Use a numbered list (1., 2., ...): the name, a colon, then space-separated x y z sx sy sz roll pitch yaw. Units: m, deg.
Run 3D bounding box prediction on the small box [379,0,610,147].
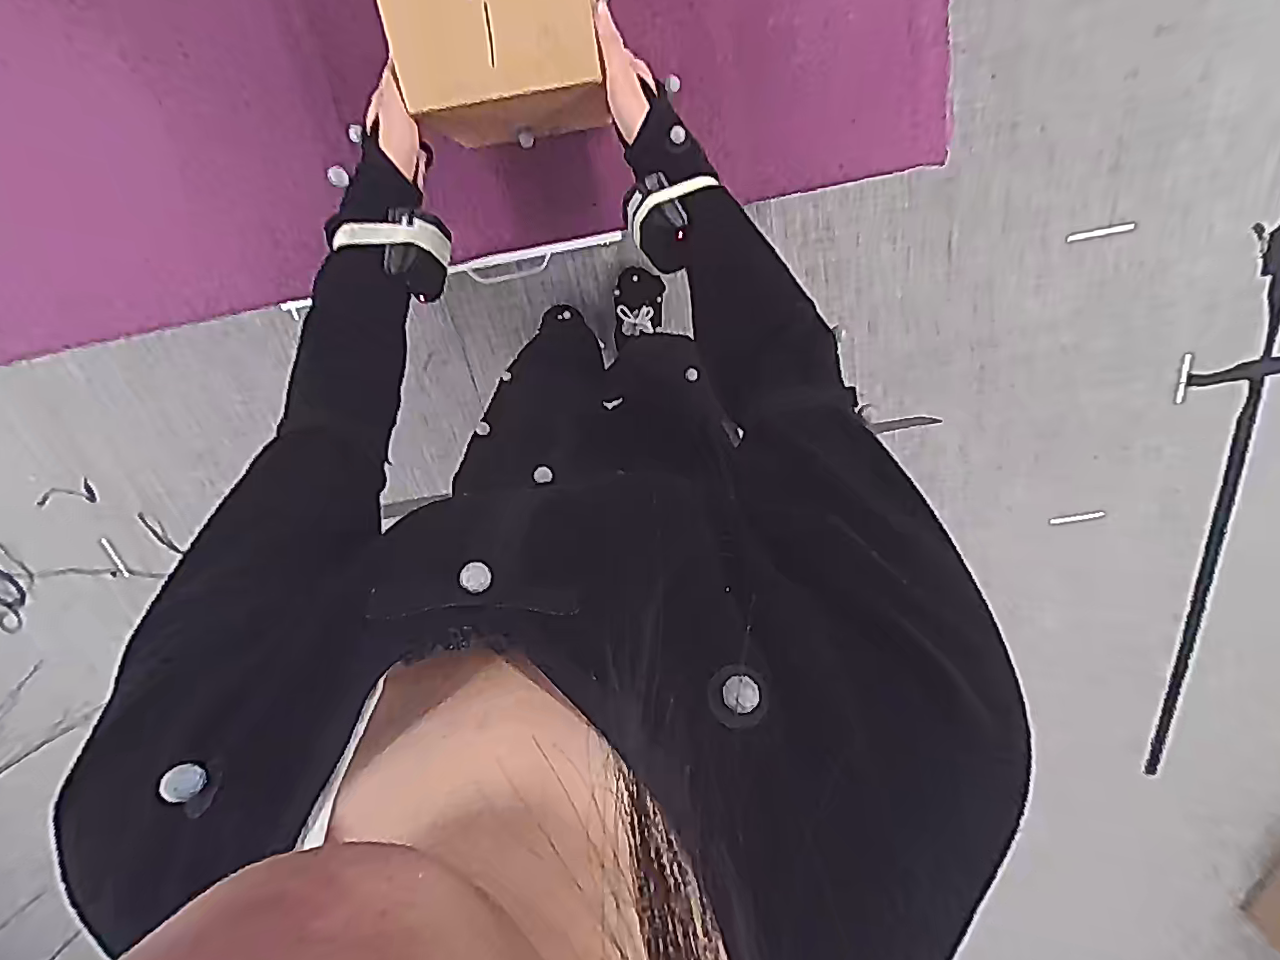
1. small box: -0.122 -0.422 0.482 0.168 0.176 0.179 -7 113 4
